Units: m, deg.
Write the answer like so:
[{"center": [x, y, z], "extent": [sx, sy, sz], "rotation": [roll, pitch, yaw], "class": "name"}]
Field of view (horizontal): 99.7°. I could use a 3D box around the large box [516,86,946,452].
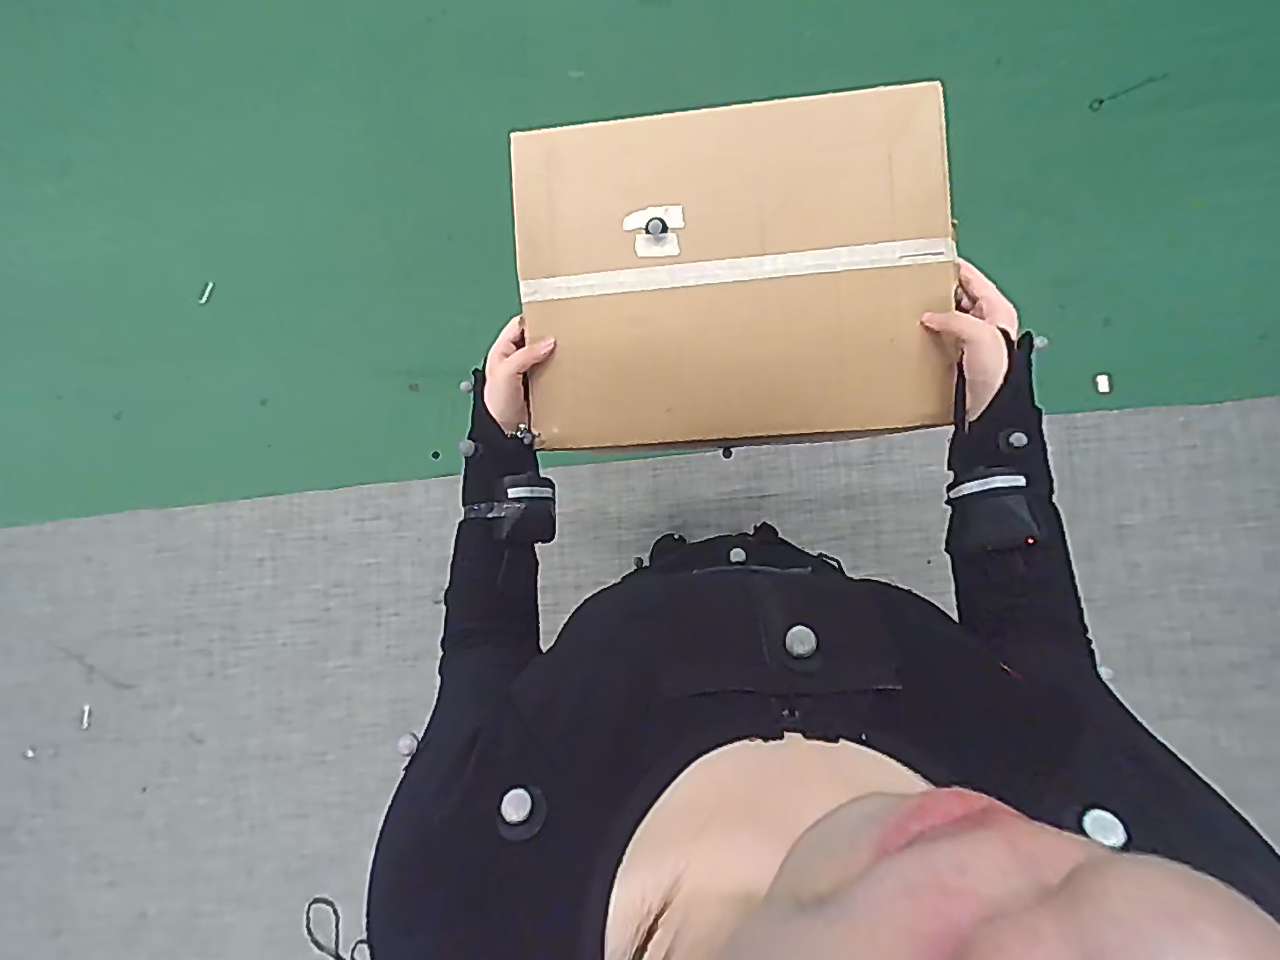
[{"center": [0.101, -0.205, 0.675], "extent": [0.408, 0.320, 0.320], "rotation": [-4, 91, 7], "class": "large box"}]
